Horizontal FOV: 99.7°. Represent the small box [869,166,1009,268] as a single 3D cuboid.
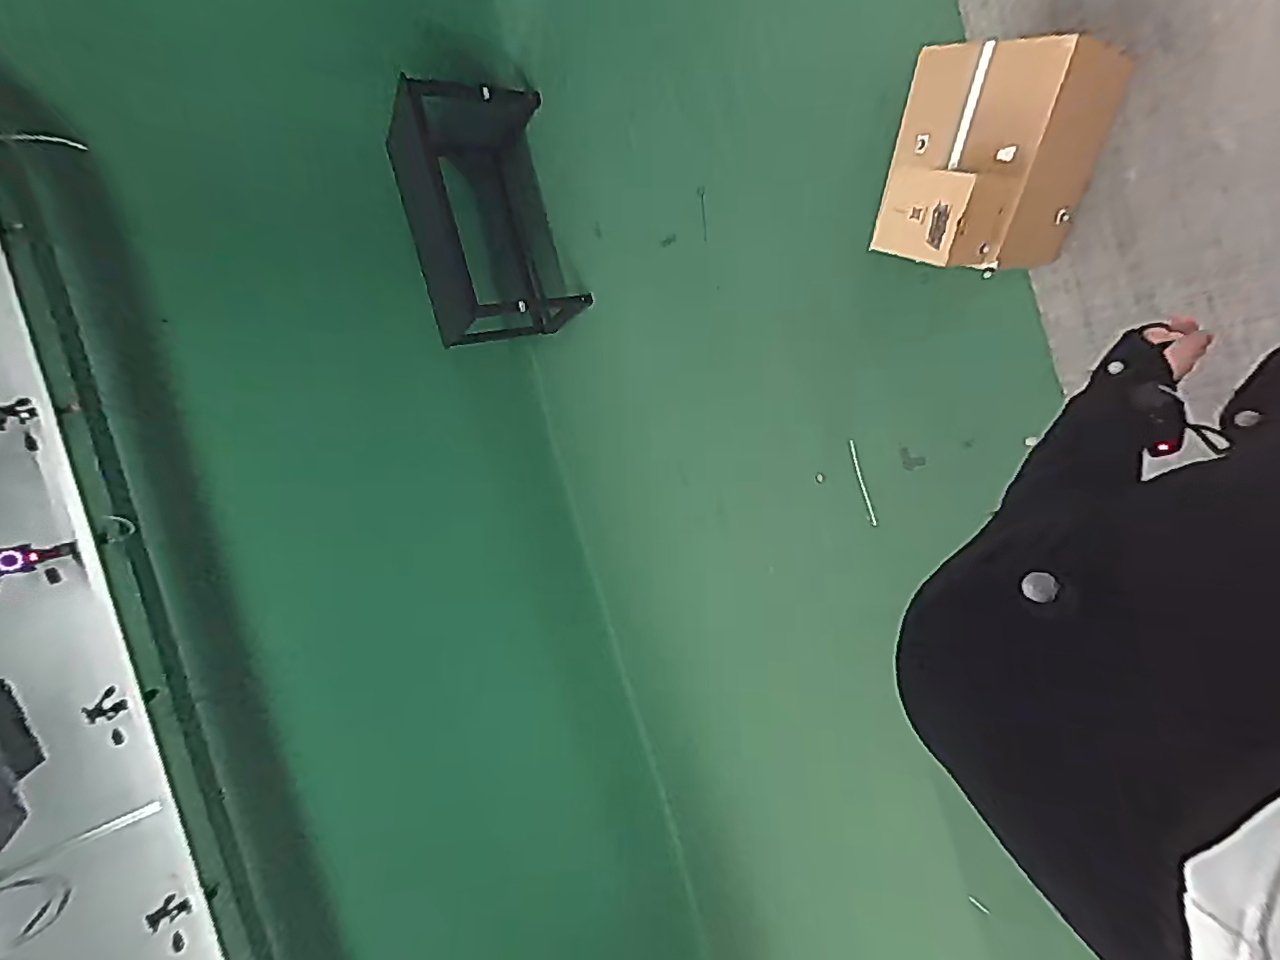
[{"bbox_3d":[0.630,-0.555,1.140,0.179,0.176,0.168,41,135,41],"label":"small box"}]
